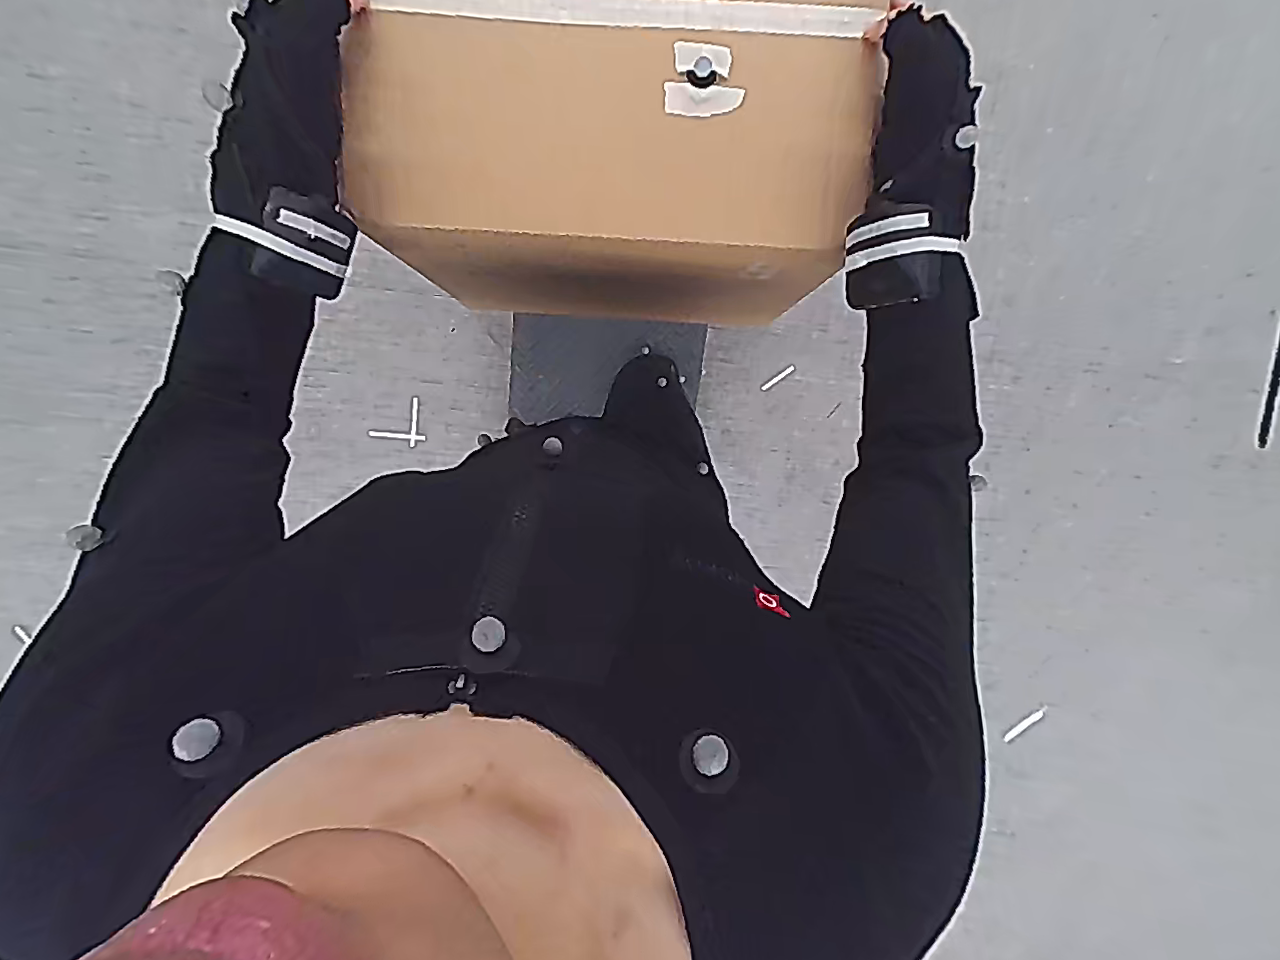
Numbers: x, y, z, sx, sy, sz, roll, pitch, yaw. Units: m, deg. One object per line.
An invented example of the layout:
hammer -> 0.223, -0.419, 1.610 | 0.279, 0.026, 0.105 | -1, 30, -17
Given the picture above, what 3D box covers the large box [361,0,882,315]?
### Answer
large box -> -0.016, -0.365, 0.561 | 0.408, 0.320, 0.320 | 2, 96, -1
